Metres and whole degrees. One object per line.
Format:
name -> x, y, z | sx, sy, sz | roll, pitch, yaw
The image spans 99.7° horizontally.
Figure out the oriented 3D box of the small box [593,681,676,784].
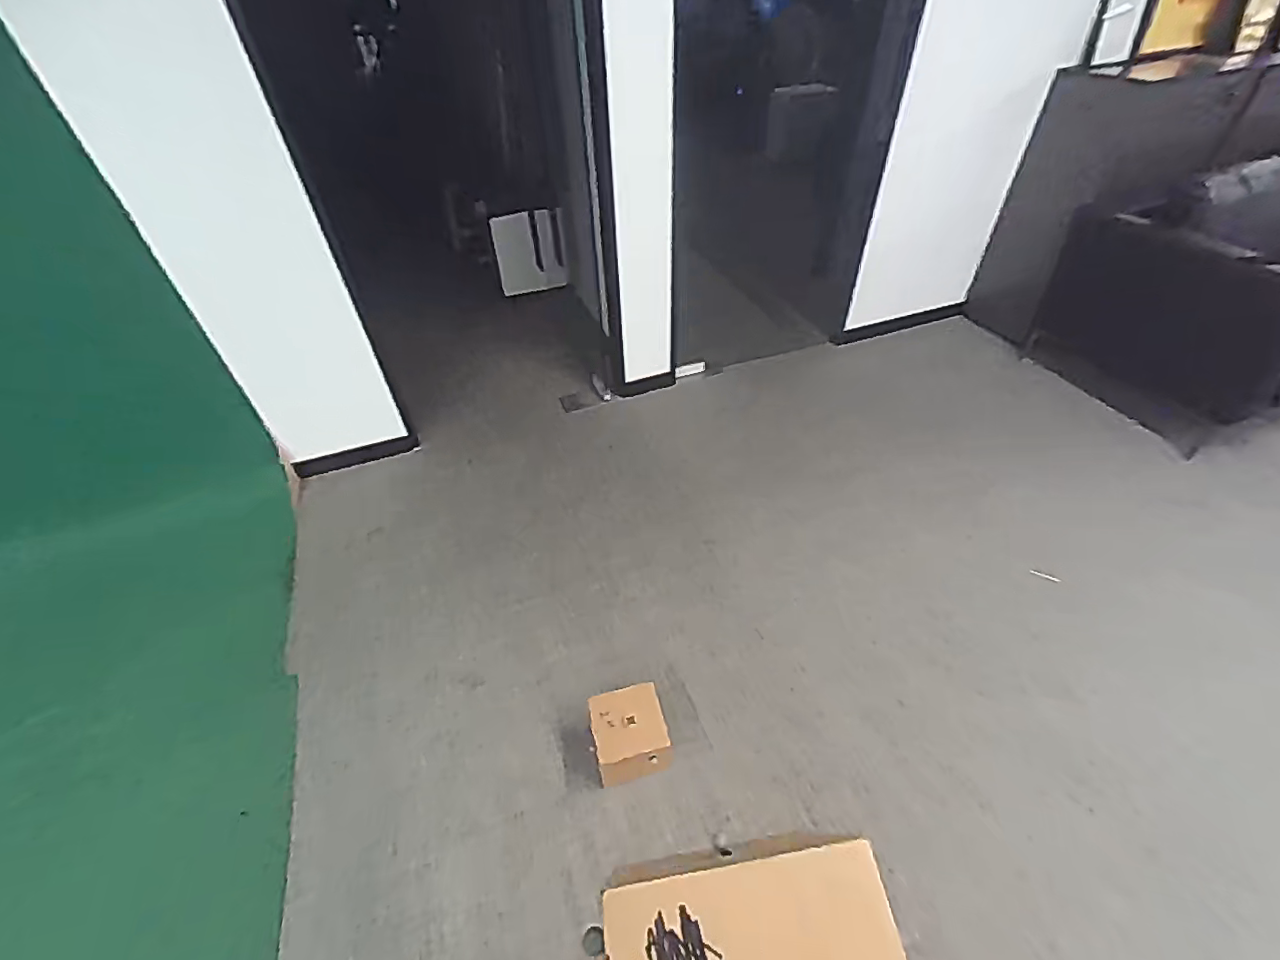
small box -> -0.016, 0.641, 1.370 | 0.179, 0.176, 0.168 | -12, 45, -9
